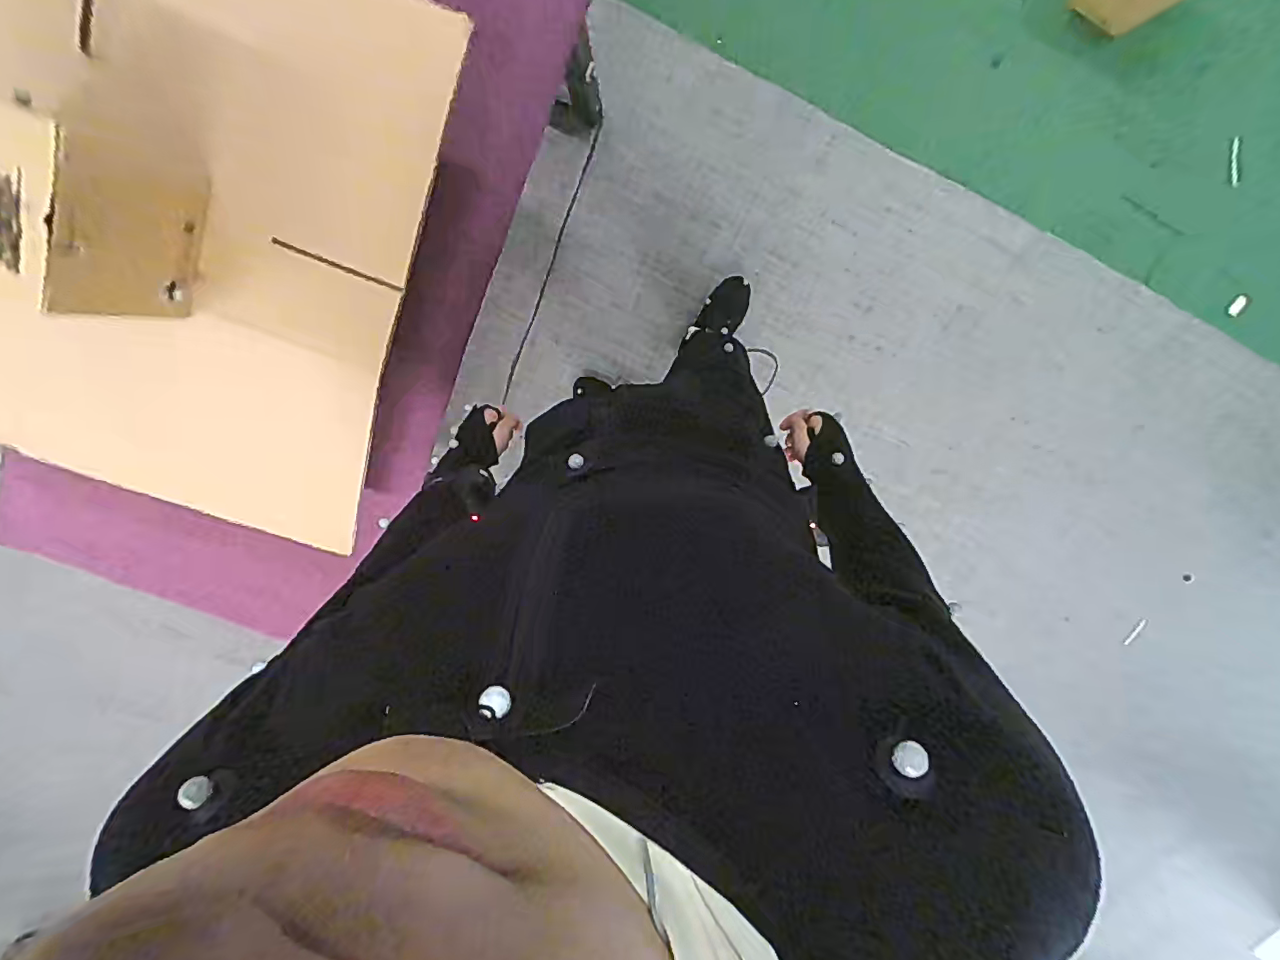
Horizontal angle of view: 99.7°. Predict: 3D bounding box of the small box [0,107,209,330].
[{"bbox_3d":[-0.583,-0.260,0.539,0.179,0.176,0.168,20,104,-5],"label":"small box"}]
